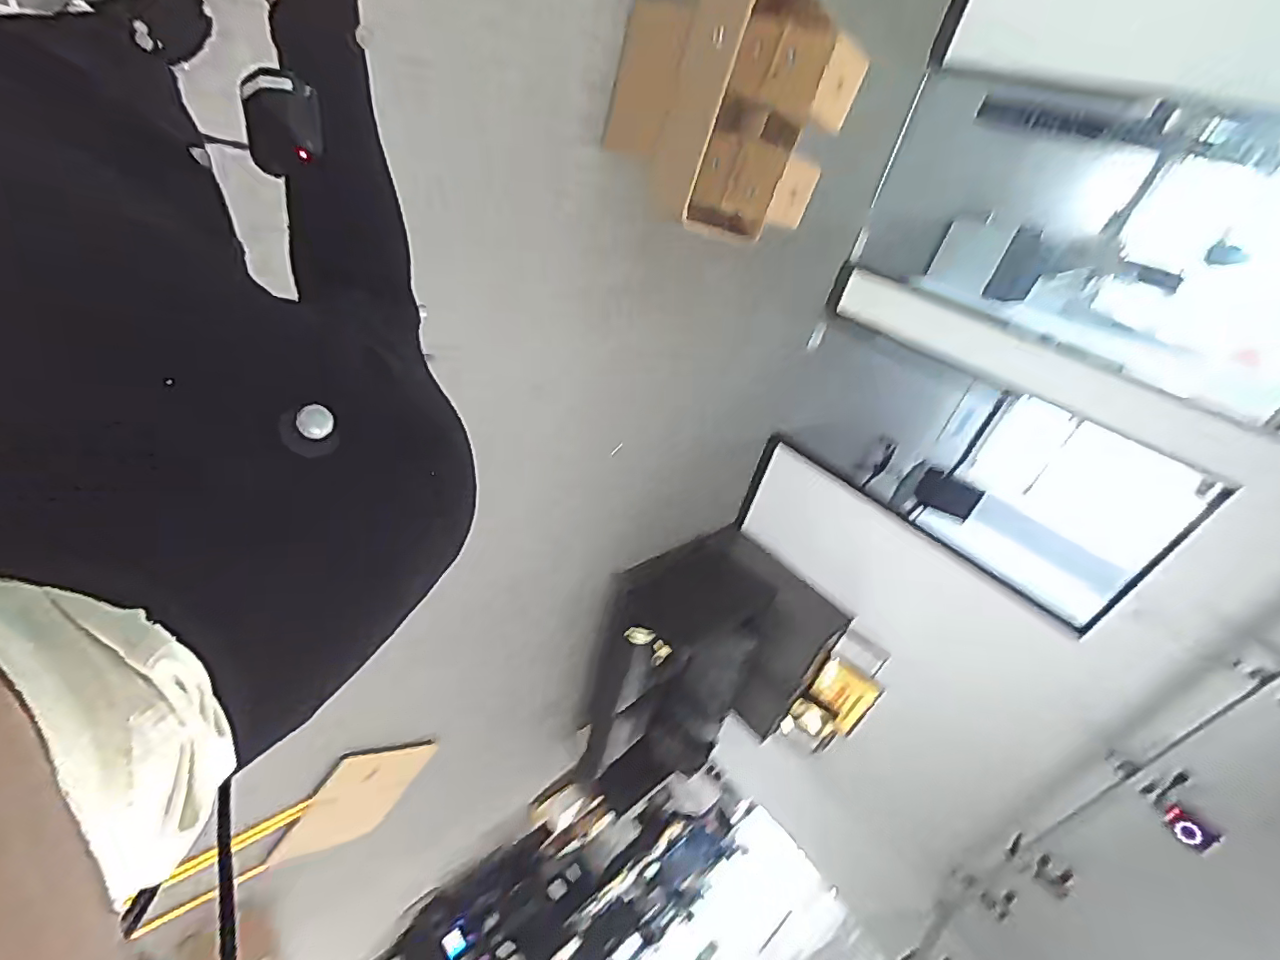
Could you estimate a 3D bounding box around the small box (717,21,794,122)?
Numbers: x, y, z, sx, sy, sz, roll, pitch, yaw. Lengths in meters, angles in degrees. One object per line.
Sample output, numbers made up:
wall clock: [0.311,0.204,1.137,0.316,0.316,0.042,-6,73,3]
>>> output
small box: [0.342,-1.135,1.501,0.168,0.176,0.179,-11,132,-46]

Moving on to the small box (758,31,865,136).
small box: [0.445,-1.039,1.416,0.179,0.176,0.168,-10,131,-46]

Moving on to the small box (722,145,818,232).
small box: [0.362,-0.824,1.529,0.179,0.176,0.168,-13,133,-46]
